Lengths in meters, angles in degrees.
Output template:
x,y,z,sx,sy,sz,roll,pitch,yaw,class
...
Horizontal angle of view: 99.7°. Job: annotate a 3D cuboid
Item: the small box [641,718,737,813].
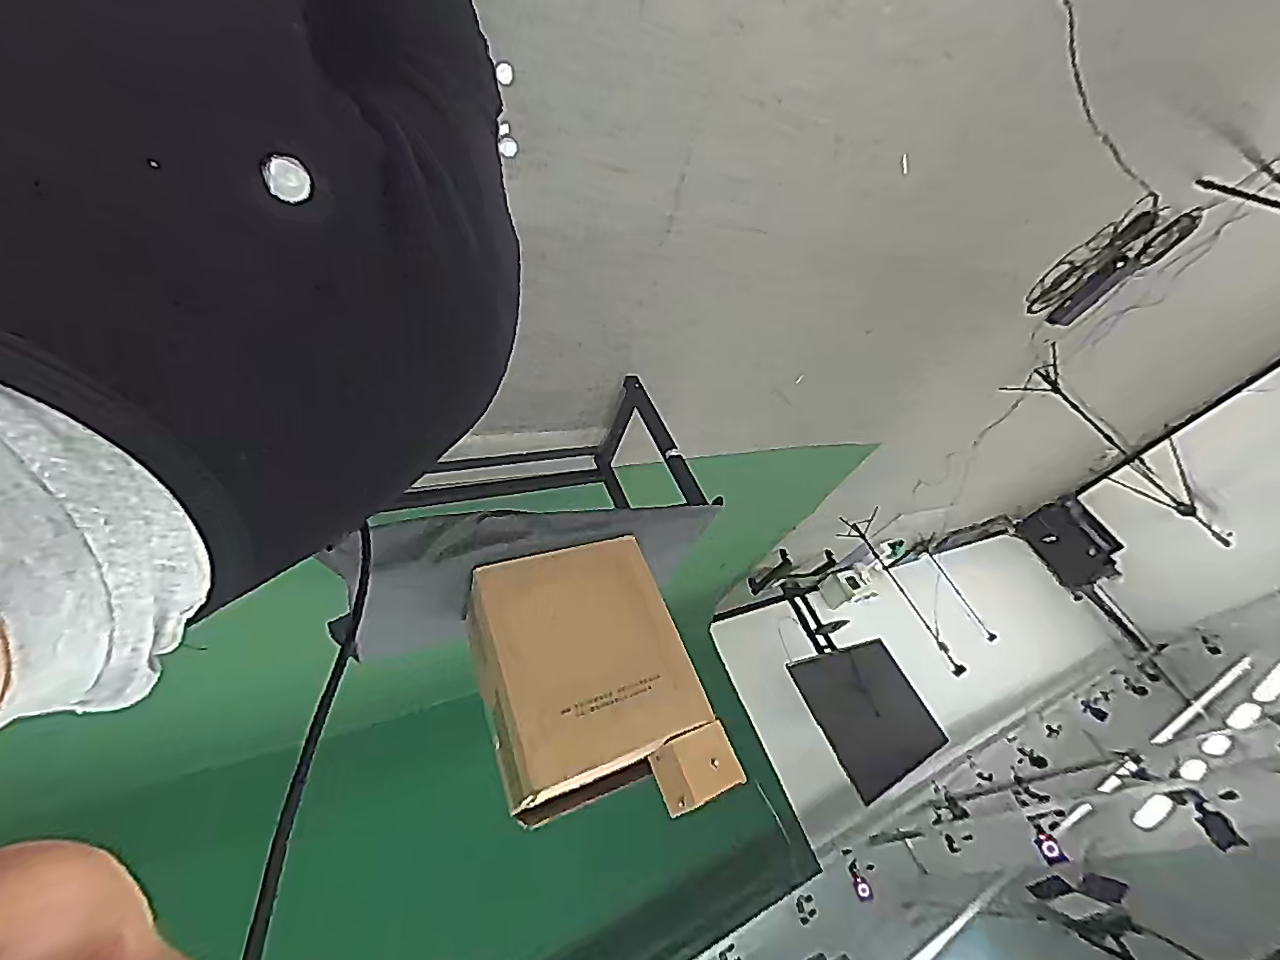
x,y,z,sx,sy,sz,roll,pitch,yaw,class
0.134,0.801,1.528,0.179,0.176,0.168,-8,146,-34,small box
